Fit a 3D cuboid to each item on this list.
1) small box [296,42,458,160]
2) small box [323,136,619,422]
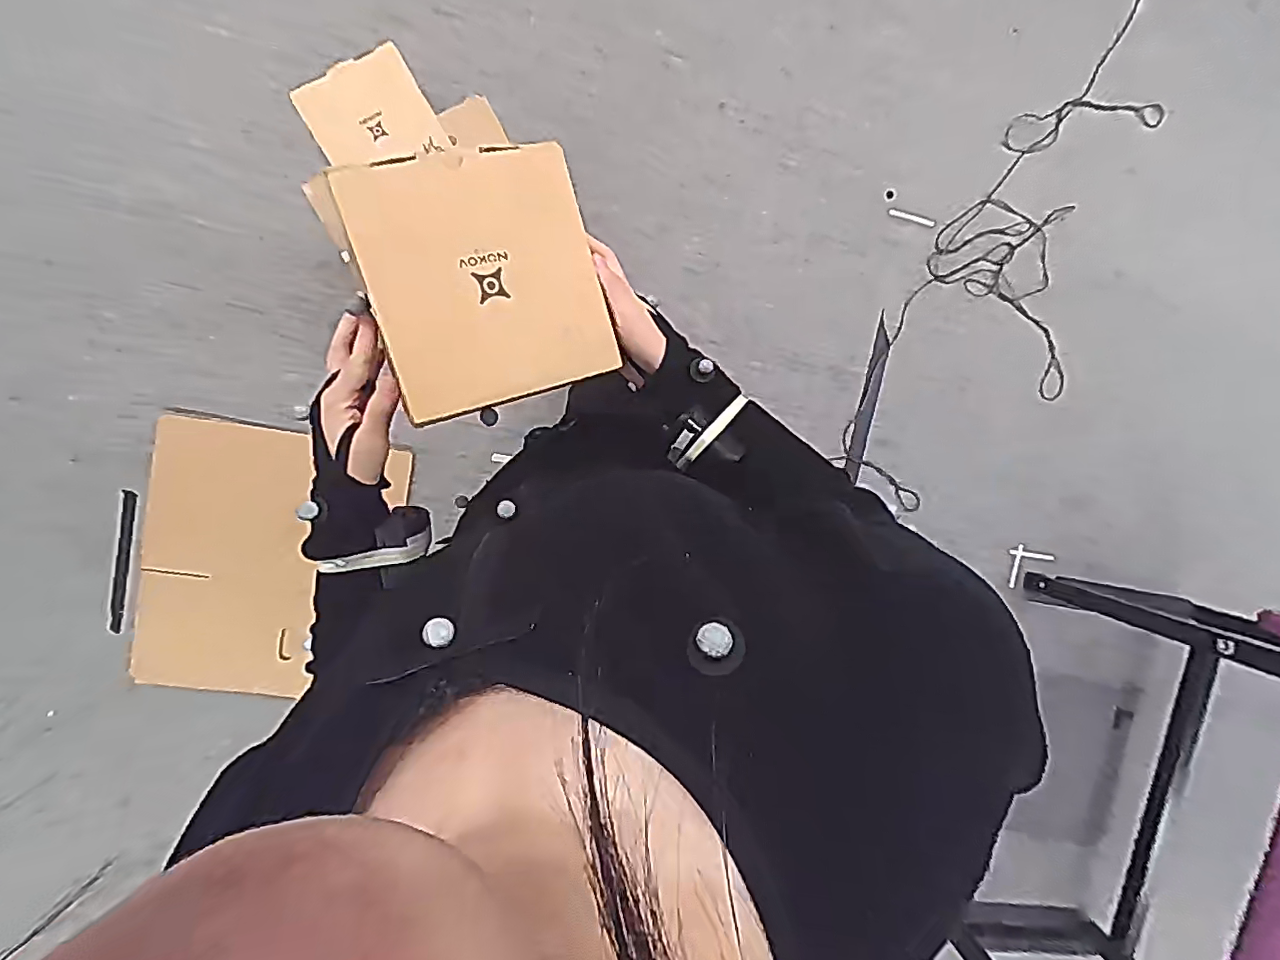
[{"bbox_3d":[-0.378,-0.510,0.843,0.168,0.176,0.179,-31,97,-3],"label":"small box"},{"bbox_3d":[-0.139,-0.154,0.464,0.168,0.176,0.179,-20,100,-20],"label":"small box"}]
